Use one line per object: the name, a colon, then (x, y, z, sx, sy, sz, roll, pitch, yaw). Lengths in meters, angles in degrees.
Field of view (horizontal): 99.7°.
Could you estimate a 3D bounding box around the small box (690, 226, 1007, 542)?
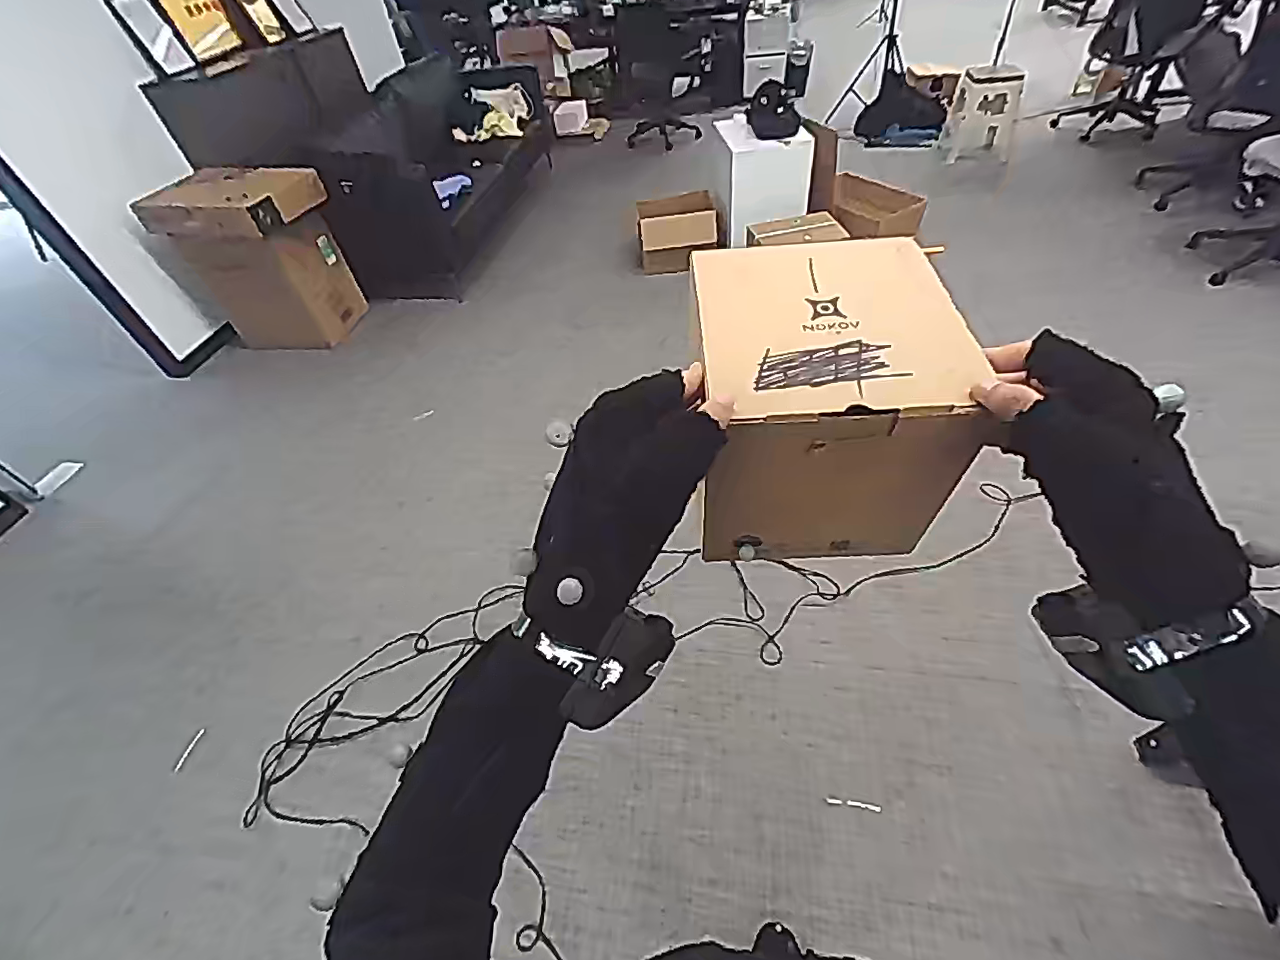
small box: (0.126, -0.062, 0.410, 0.168, 0.176, 0.179, -3, 53, 3)
